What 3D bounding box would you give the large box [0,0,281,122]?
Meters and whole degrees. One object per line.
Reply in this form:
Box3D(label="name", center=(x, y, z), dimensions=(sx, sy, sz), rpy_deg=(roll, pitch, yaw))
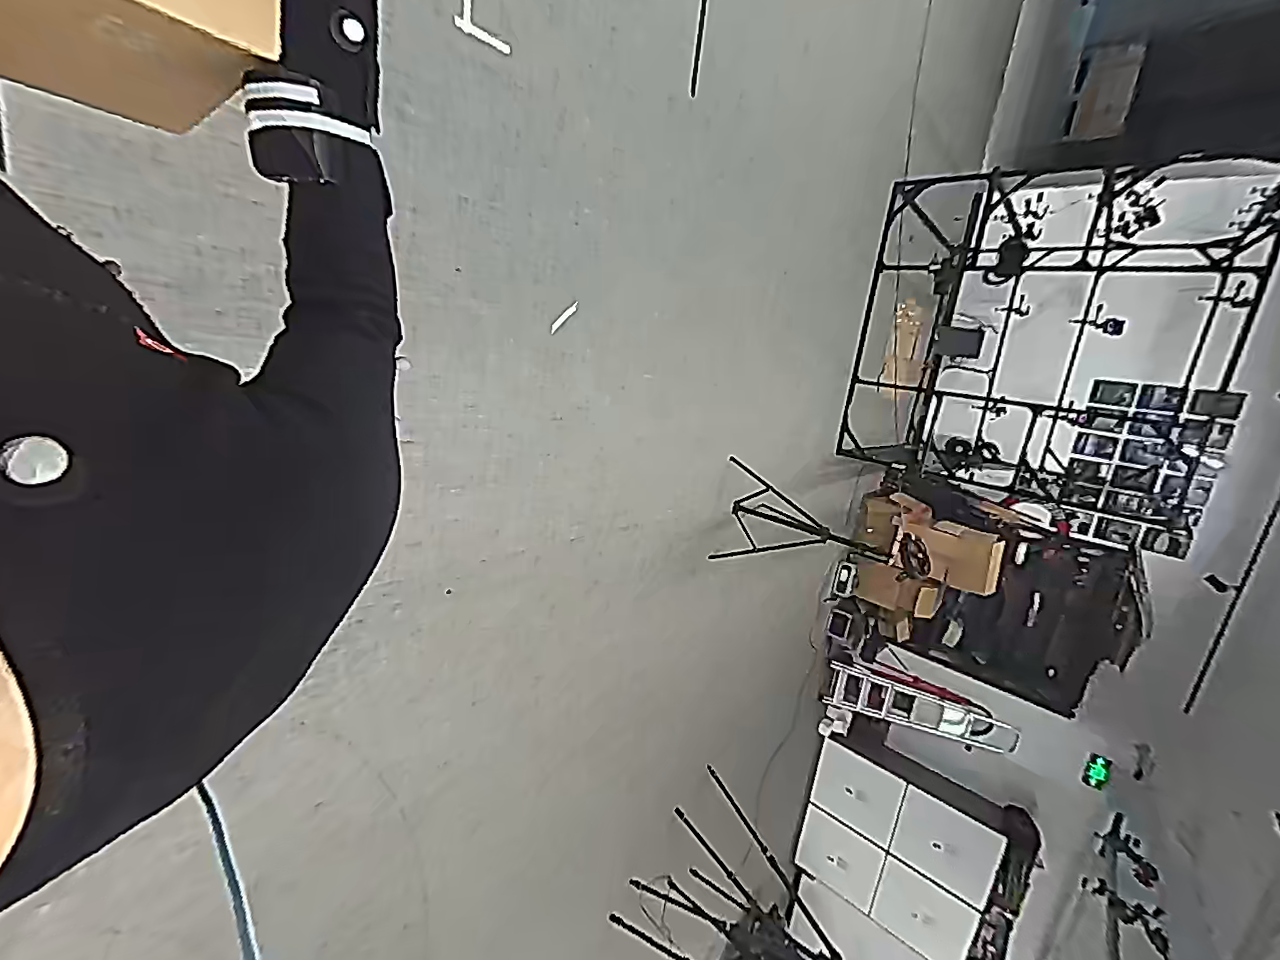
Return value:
Box3D(label="large box", center=(-0.471, -0.461, 0.285), dimensions=(0.408, 0.320, 0.320), rpy_deg=(-6, 109, -49))
